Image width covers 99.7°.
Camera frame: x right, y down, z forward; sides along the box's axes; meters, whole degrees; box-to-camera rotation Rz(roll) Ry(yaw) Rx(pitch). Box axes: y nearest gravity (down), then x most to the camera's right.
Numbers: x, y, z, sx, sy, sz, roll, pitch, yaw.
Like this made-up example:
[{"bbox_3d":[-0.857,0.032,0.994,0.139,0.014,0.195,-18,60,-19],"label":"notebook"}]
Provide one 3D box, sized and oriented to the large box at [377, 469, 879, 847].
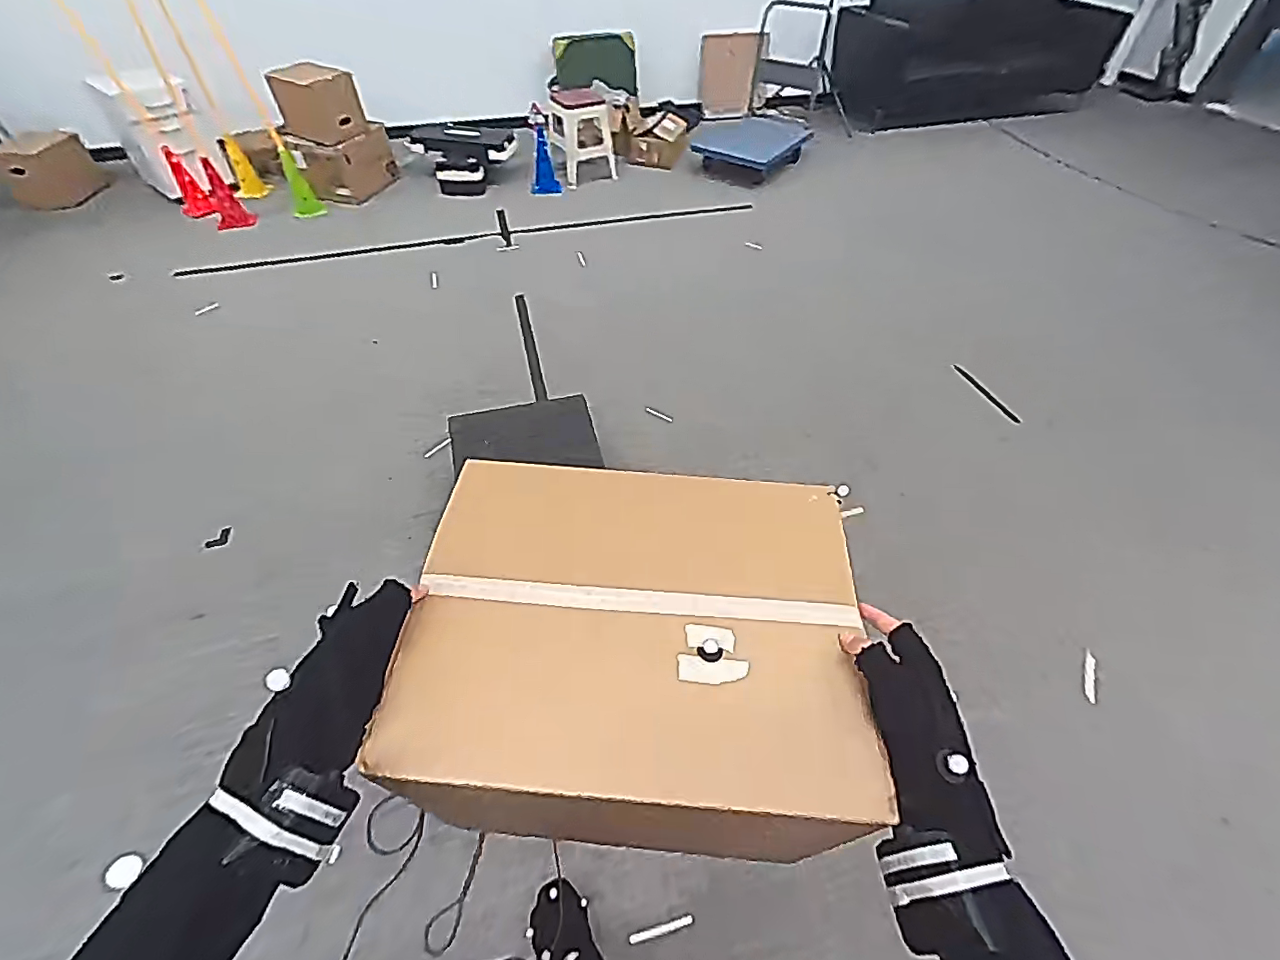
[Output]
[{"bbox_3d":[-0.008,0.211,0.628,0.408,0.320,0.320,5,51,1],"label":"large box"}]
